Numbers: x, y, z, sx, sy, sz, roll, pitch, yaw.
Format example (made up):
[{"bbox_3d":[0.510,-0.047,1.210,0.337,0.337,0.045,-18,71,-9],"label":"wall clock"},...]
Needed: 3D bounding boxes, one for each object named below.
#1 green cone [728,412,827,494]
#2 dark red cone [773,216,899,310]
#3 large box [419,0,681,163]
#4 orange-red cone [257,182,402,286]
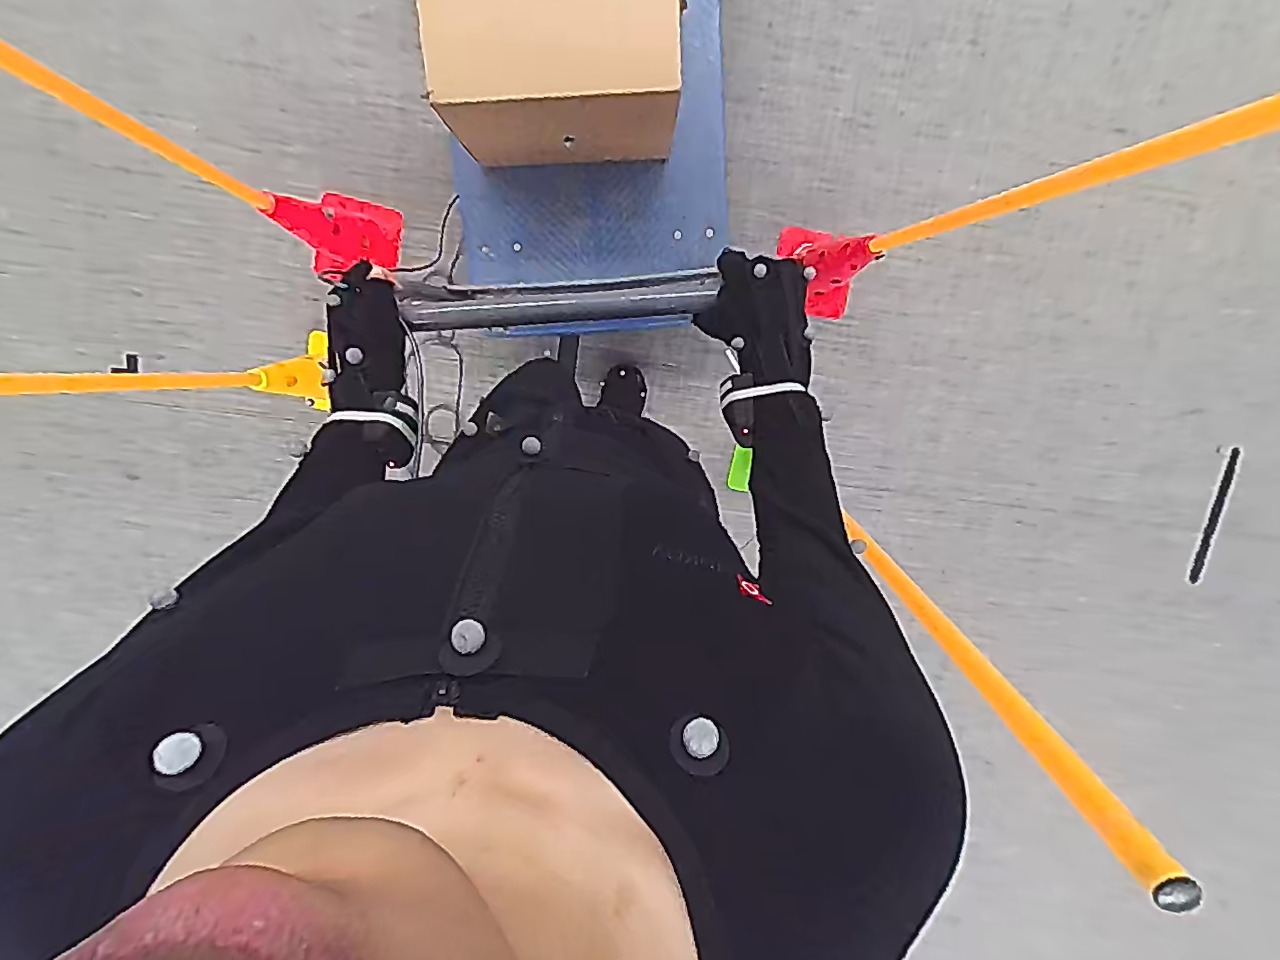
[{"bbox_3d":[0.355,-0.034,1.287,0.202,0.368,0.200,11,102,-4],"label":"green cone"},{"bbox_3d":[0.441,-0.497,1.170,0.201,0.394,0.202,7,102,-4],"label":"dark red cone"},{"bbox_3d":[-0.142,-0.793,0.969,0.408,0.320,0.320,-3,103,0],"label":"large box"},{"bbox_3d":[-0.691,-0.564,1.160,0.198,0.360,0.199,15,100,-5],"label":"orange-red cone"}]
